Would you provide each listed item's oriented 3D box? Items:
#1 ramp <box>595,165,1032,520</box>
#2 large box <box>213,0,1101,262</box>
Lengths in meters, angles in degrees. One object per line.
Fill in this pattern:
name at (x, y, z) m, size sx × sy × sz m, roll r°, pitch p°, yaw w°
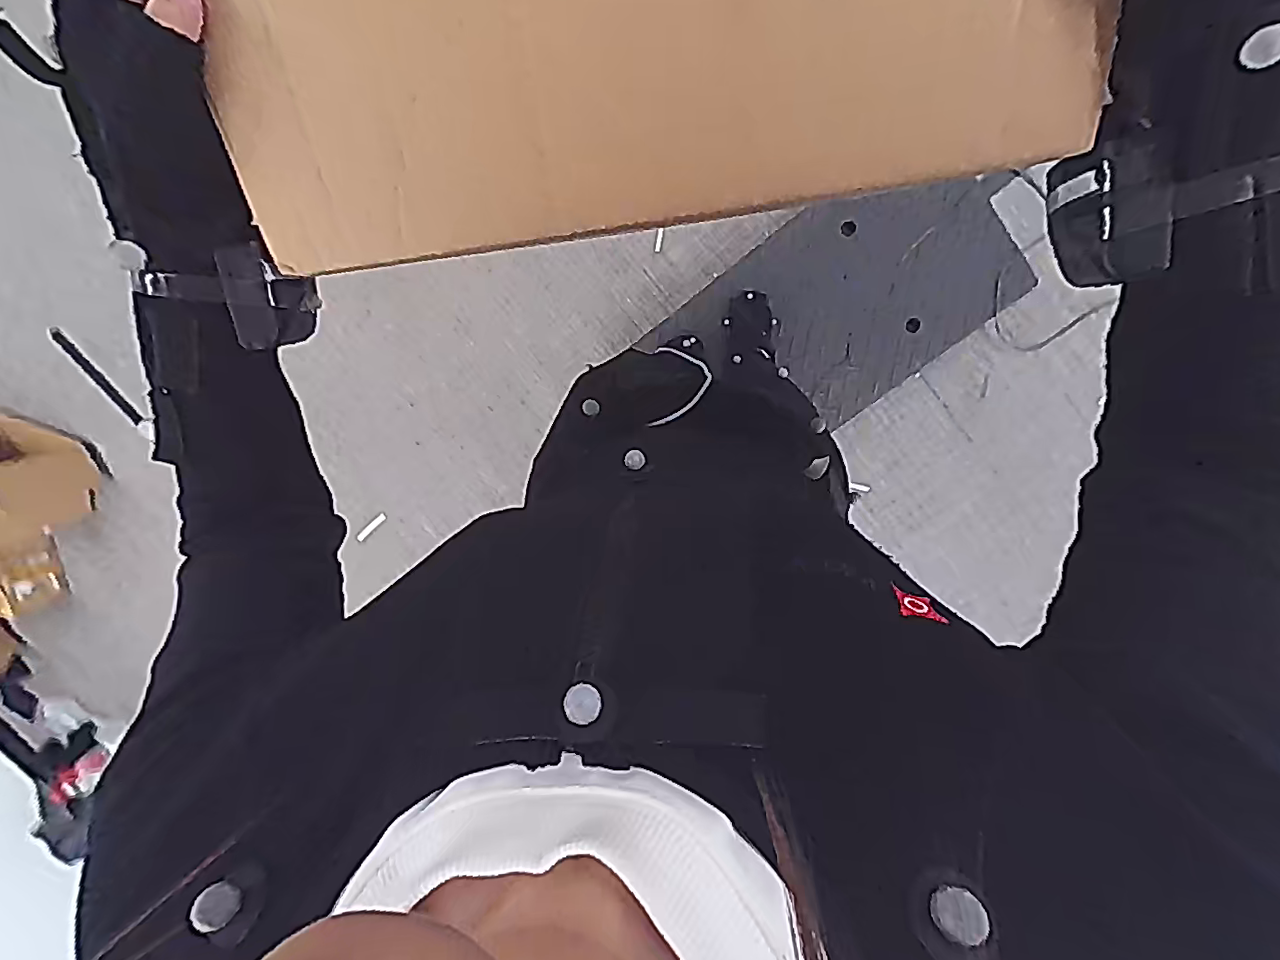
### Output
ramp at (0.416, -0.376, 1.355) m, size 0.991 × 0.206 × 0.509 m, roll -38°, pitch 96°, yaw 18°
large box at (0.001, -0.342, 0.350) m, size 0.408 × 0.320 × 0.320 m, roll -4°, pitch 116°, yaw 9°
